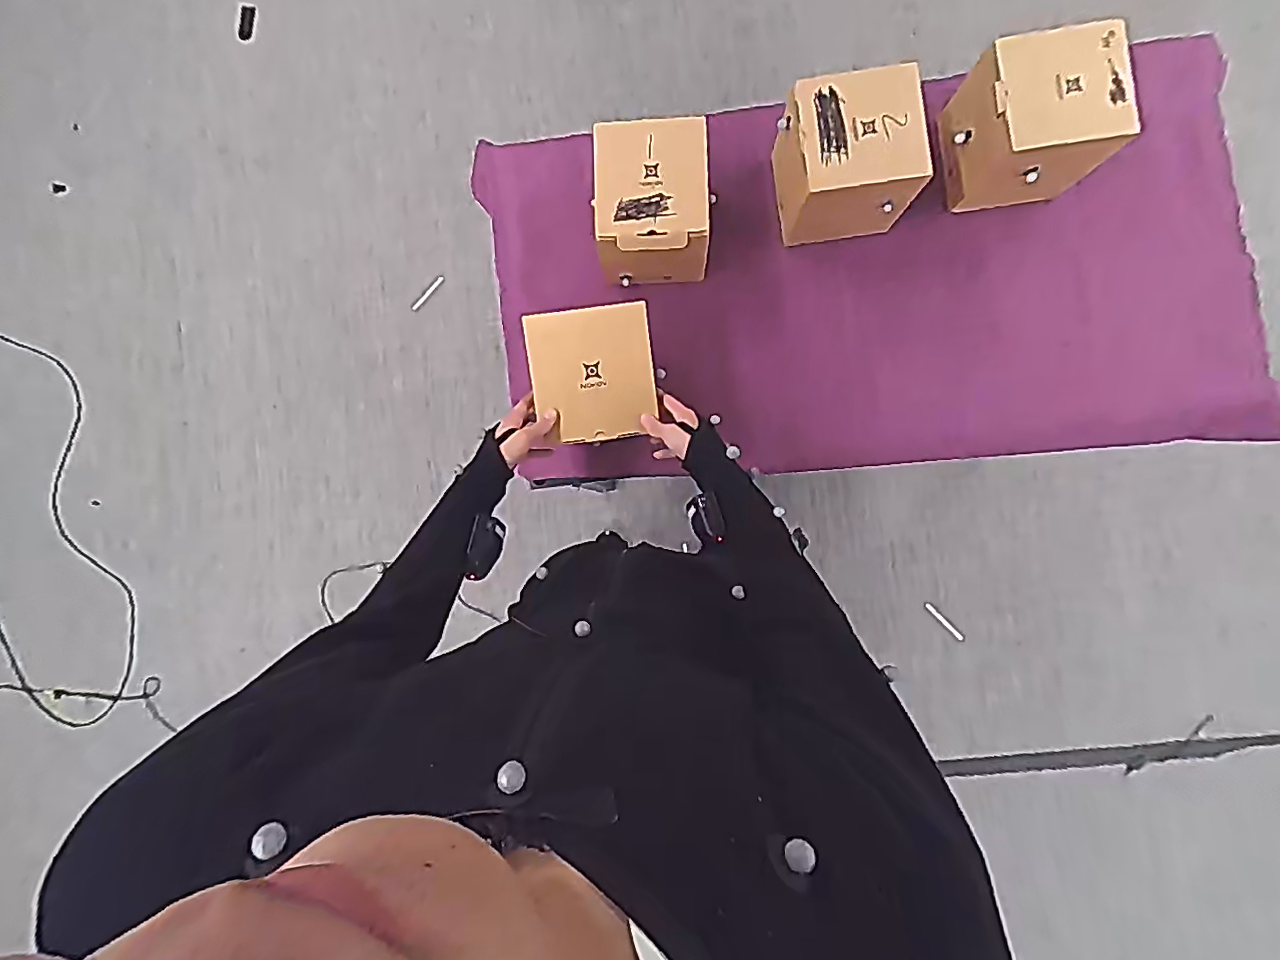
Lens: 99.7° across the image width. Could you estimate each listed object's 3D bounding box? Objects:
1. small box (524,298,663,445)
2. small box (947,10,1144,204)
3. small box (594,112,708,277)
[{"bbox_3d":[-0.063,-0.151,0.791,0.168,0.176,0.179,-8,98,0],"label":"small box"},{"bbox_3d":[0.589,-0.542,0.814,0.179,0.176,0.168,-7,89,4],"label":"small box"},{"bbox_3d":[0.021,-0.431,0.847,0.168,0.176,0.179,-1,87,3],"label":"small box"}]
